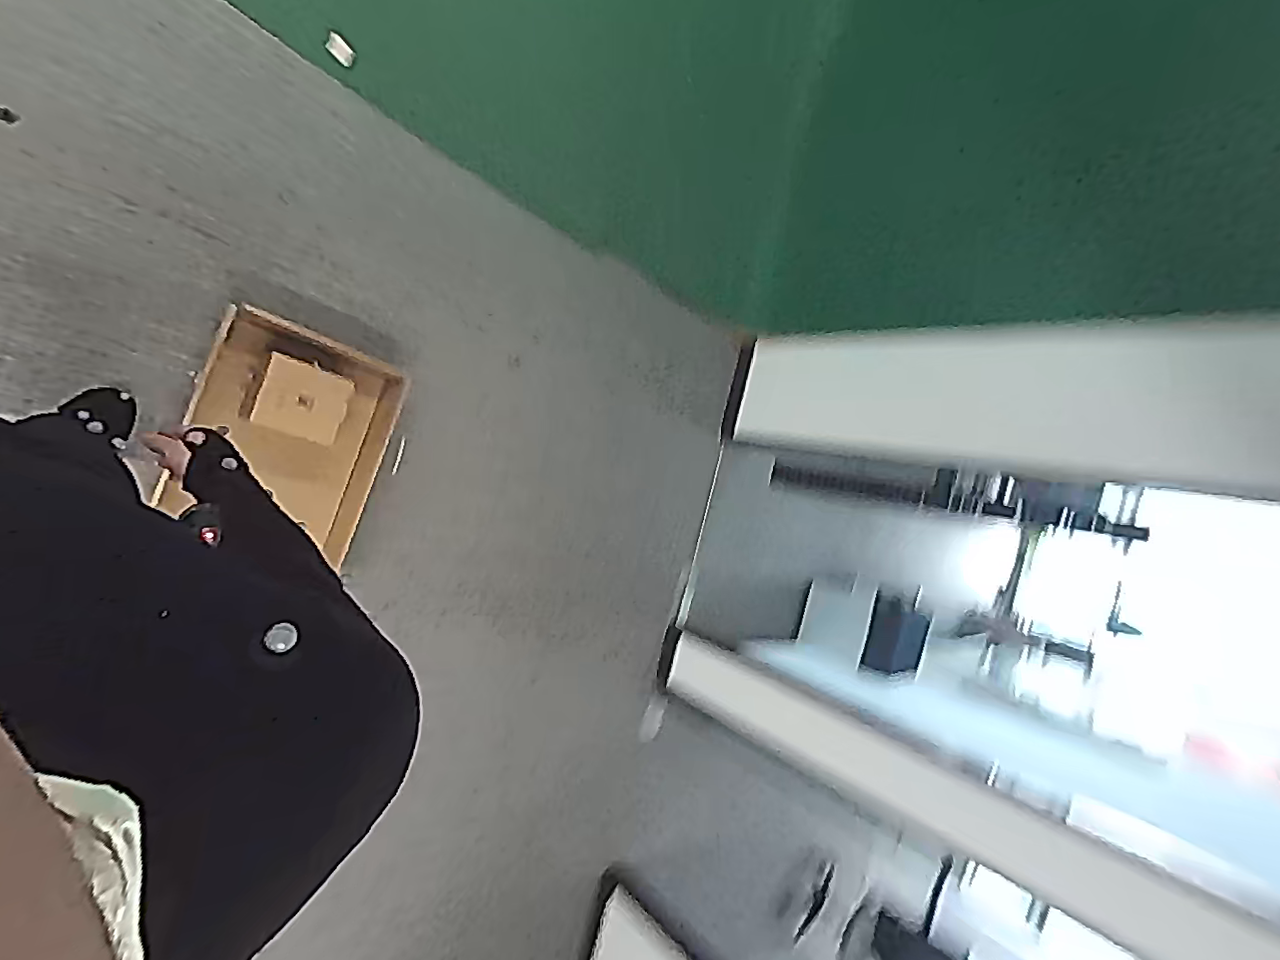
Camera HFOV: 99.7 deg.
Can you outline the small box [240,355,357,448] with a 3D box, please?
[{"bbox_3d":[-0.818,-0.190,1.291,0.179,0.176,0.168,24,82,-44],"label":"small box"}]
